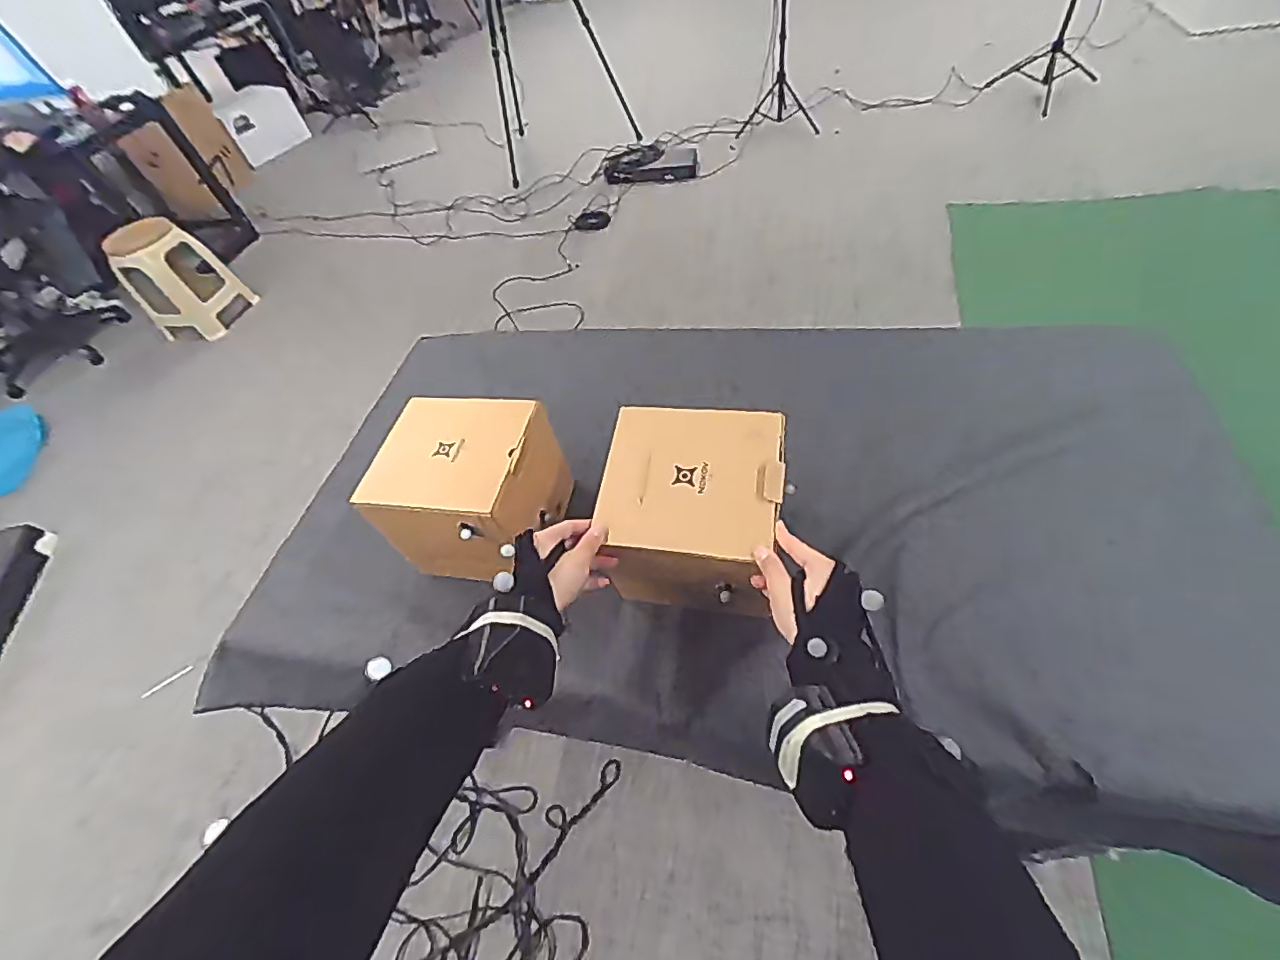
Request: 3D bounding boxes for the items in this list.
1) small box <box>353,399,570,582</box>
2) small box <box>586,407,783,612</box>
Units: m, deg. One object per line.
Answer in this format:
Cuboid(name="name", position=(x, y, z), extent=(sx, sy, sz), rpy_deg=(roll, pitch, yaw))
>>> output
Cuboid(name="small box", position=(-0.207, 0.015, 0.683), extent=(0.179, 0.176, 0.168), rpy_deg=(3, 53, 13))
Cuboid(name="small box", position=(0.062, 0.037, 0.598), extent=(0.179, 0.176, 0.168), rpy_deg=(3, 59, 16))
